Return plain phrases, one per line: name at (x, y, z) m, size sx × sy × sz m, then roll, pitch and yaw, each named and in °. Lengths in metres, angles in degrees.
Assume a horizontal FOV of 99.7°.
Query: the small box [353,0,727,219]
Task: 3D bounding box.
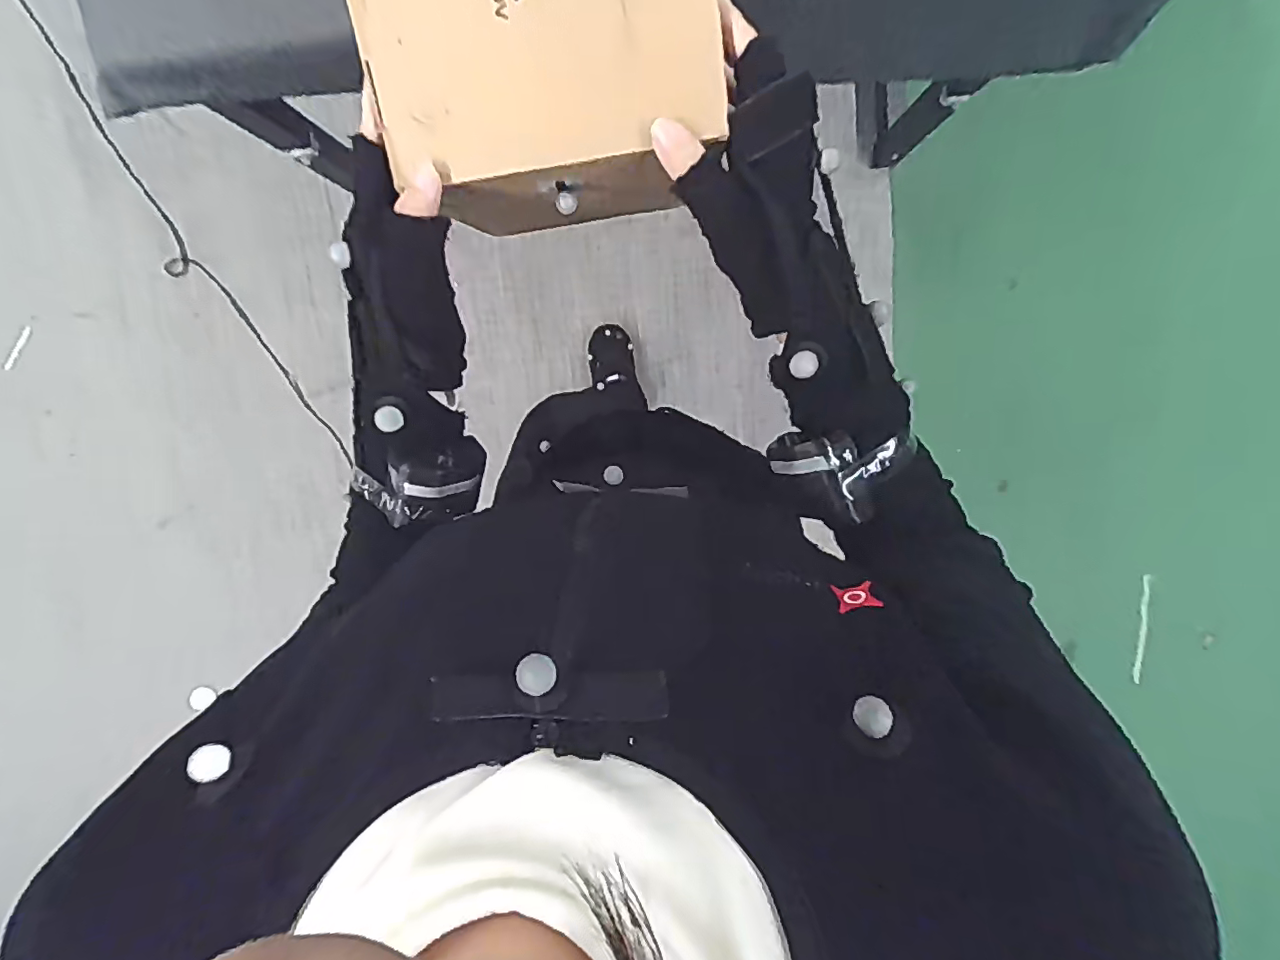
small box at (-0.049, -0.267, 0.325) m, size 0.179 × 0.176 × 0.168 m, roll -7°, pitch 108°, yaw 4°
